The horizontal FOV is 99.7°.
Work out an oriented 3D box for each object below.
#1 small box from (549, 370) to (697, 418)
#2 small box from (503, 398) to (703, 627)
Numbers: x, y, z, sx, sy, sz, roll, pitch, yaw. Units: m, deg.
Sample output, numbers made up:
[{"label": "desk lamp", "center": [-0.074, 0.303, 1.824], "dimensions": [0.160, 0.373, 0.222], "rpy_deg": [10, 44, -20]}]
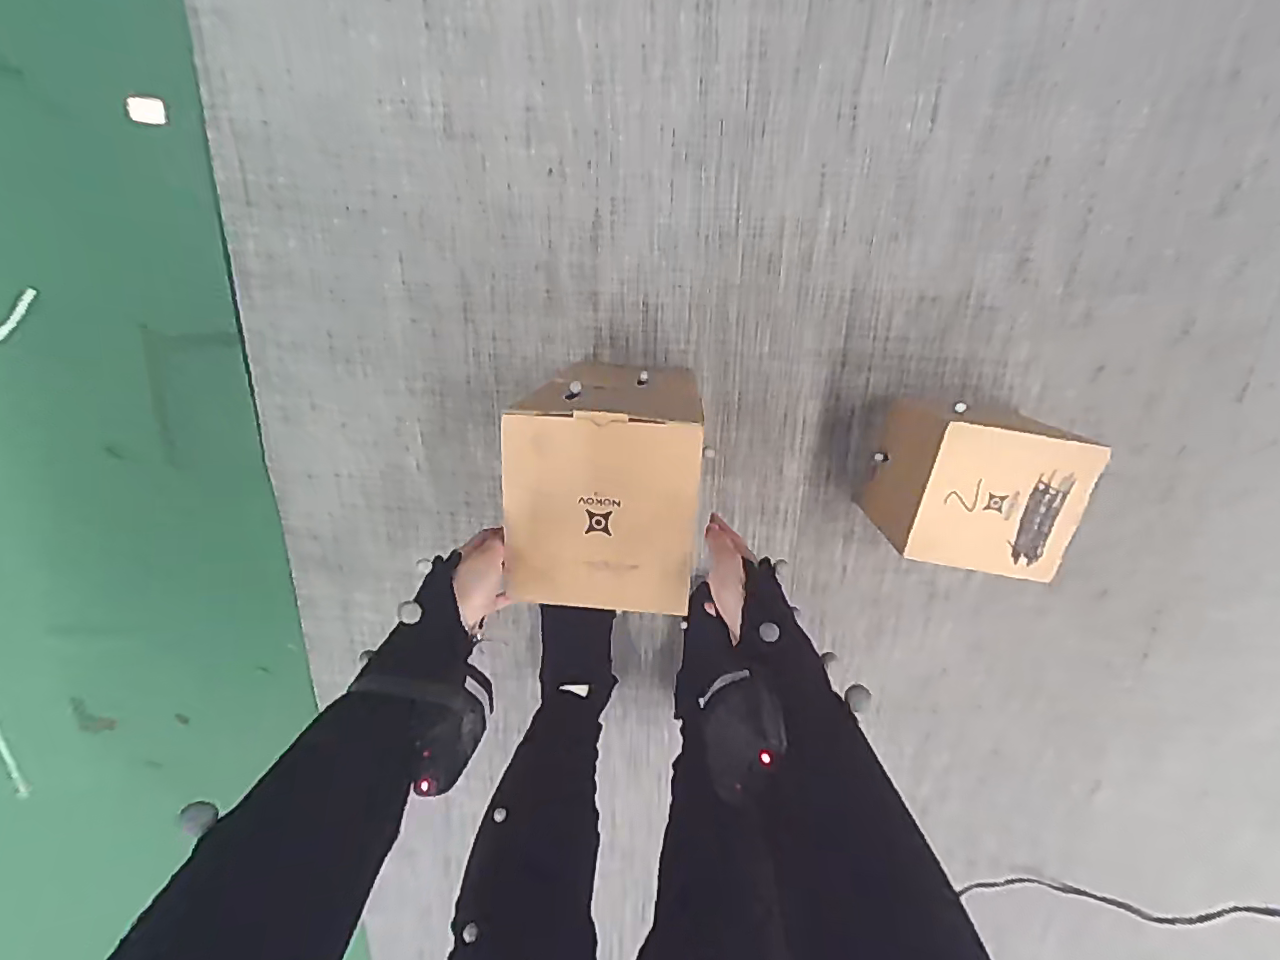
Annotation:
[{"label": "small box", "center": [-0.020, -0.034, 0.689], "dimensions": [0.168, 0.176, 0.179], "rpy_deg": [7, 110, 2]}, {"label": "small box", "center": [-0.029, 0.019, 0.536], "dimensions": [0.168, 0.176, 0.179], "rpy_deg": [4, 109, 4]}]
